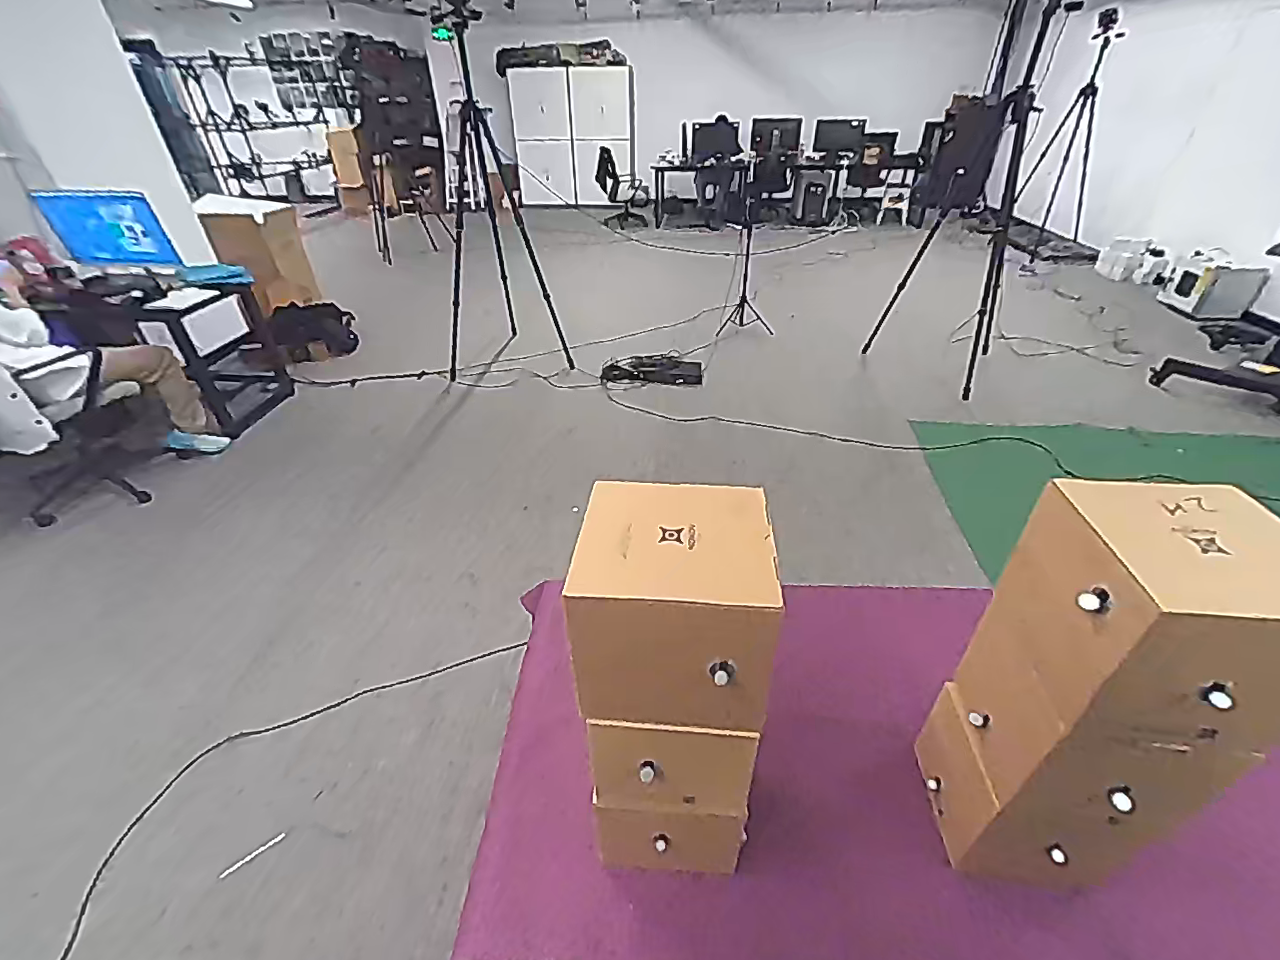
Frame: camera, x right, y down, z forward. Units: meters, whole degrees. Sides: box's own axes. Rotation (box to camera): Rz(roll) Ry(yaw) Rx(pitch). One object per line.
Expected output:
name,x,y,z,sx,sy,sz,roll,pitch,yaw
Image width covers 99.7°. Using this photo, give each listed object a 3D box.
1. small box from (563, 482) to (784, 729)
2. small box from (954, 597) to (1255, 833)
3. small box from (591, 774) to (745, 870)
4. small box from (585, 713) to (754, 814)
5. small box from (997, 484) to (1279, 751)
small box,0.035,0.120,0.531,0.179,0.176,0.168,2,34,6
small box,0.482,0.258,0.602,0.168,0.176,0.179,4,36,8
small box,0.038,0.388,0.715,0.179,0.176,0.168,1,35,5
small box,0.039,0.254,0.623,0.168,0.176,0.179,3,34,5
small box,0.477,0.124,0.505,0.168,0.176,0.179,3,35,7
